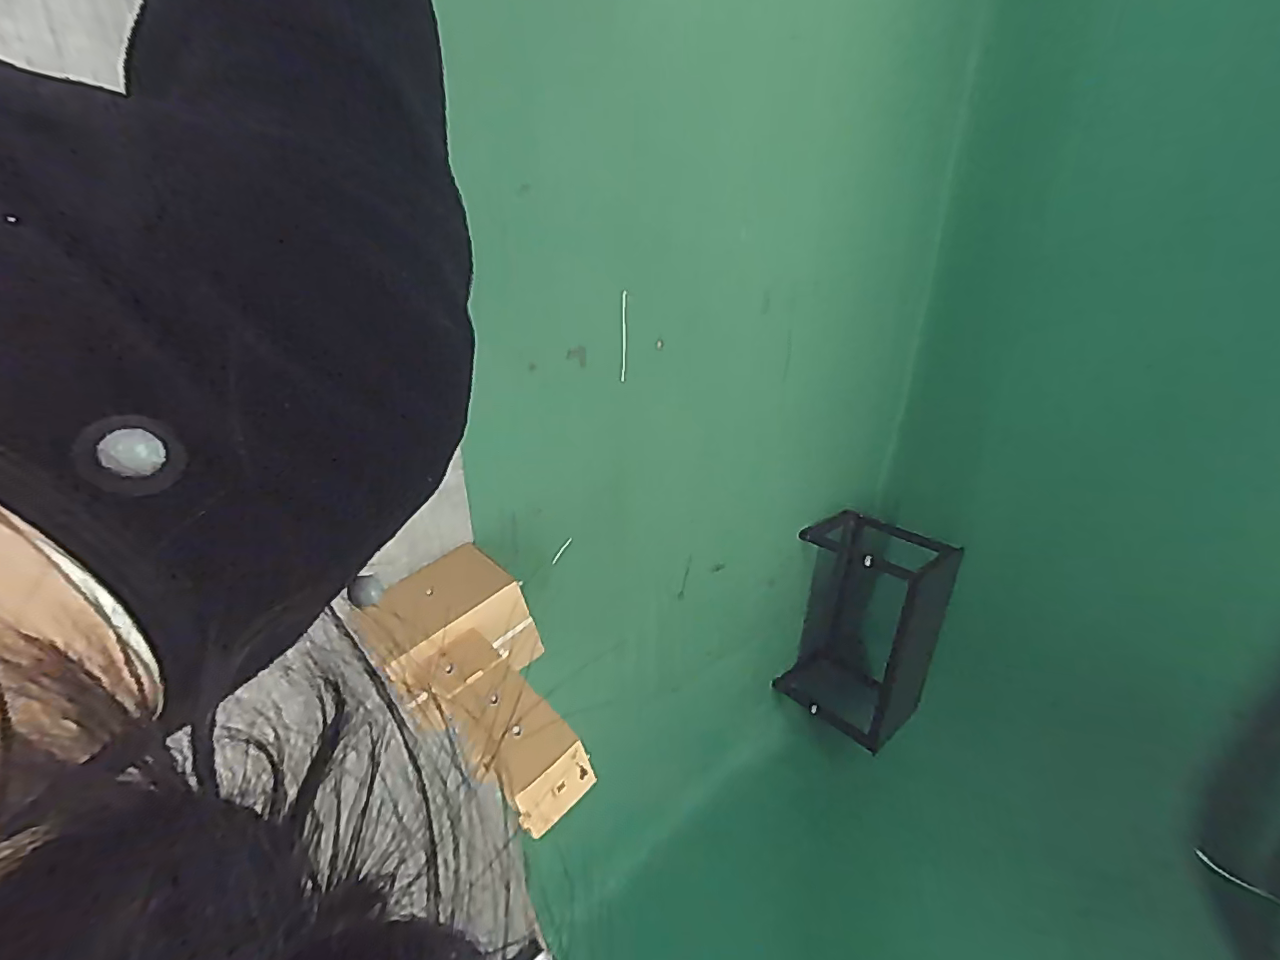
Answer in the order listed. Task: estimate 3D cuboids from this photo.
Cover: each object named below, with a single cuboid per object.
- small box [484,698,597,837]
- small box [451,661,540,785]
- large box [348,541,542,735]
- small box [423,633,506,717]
[{"bbox_3d":[-0.227,0.633,1.209,0.179,0.176,0.168,-32,127,-29],"label":"small box"},{"bbox_3d":[-0.339,0.584,1.320,0.179,0.176,0.168,-34,127,-30],"label":"small box"},{"bbox_3d":[-0.576,0.452,1.627,0.408,0.320,0.320,-34,129,-31],"label":"large box"},{"bbox_3d":[-0.446,0.533,1.432,0.168,0.176,0.179,-32,127,-30],"label":"small box"}]
